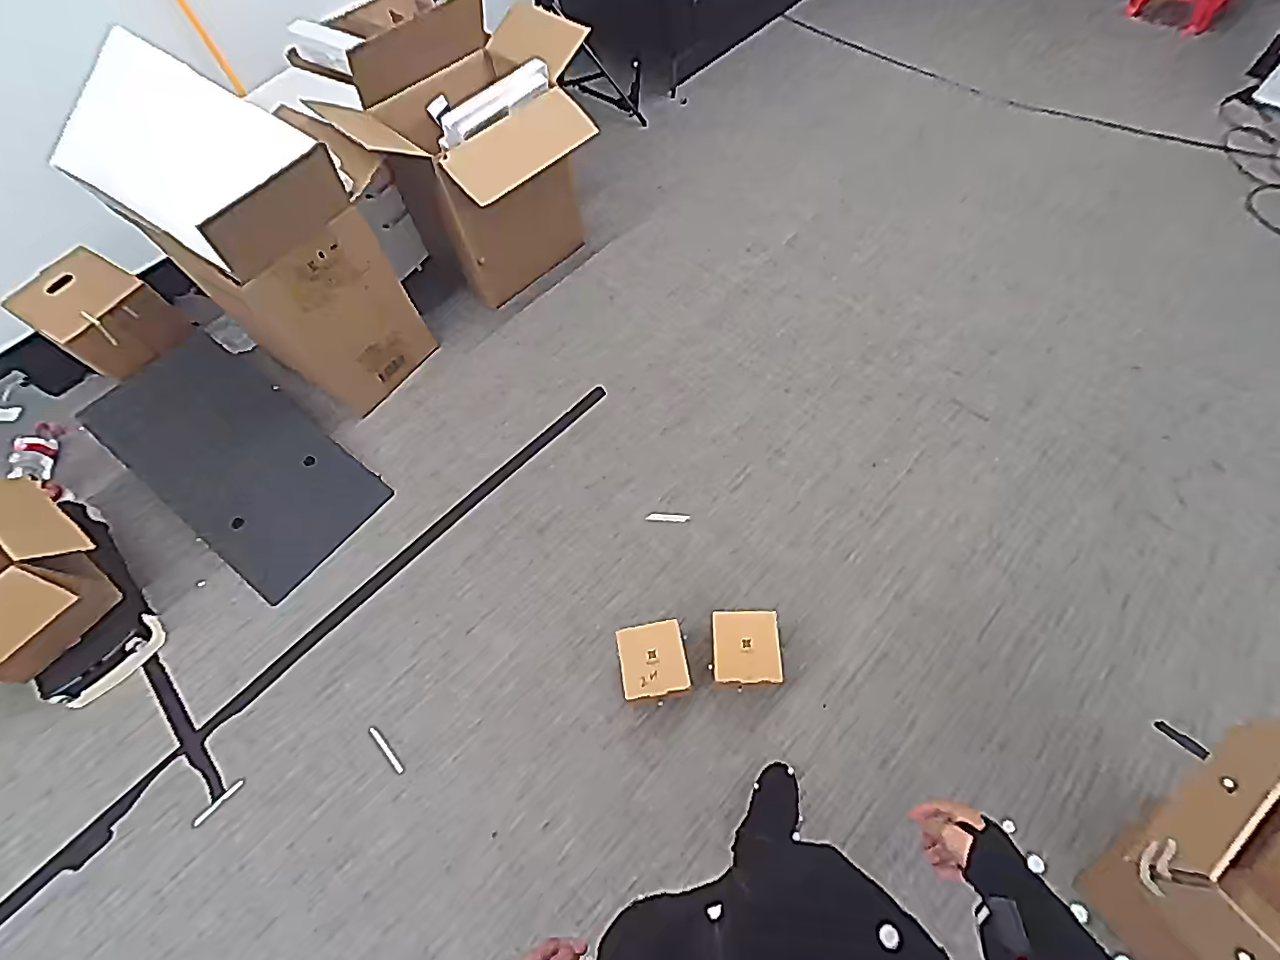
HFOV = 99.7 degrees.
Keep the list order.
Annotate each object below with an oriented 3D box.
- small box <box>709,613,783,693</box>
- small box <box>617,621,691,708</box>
[{"bbox_3d":[0.273,0.460,1.427,0.168,0.176,0.179,-2,63,4],"label":"small box"},{"bbox_3d":[0.037,0.491,1.427,0.168,0.176,0.179,-11,62,0],"label":"small box"}]
